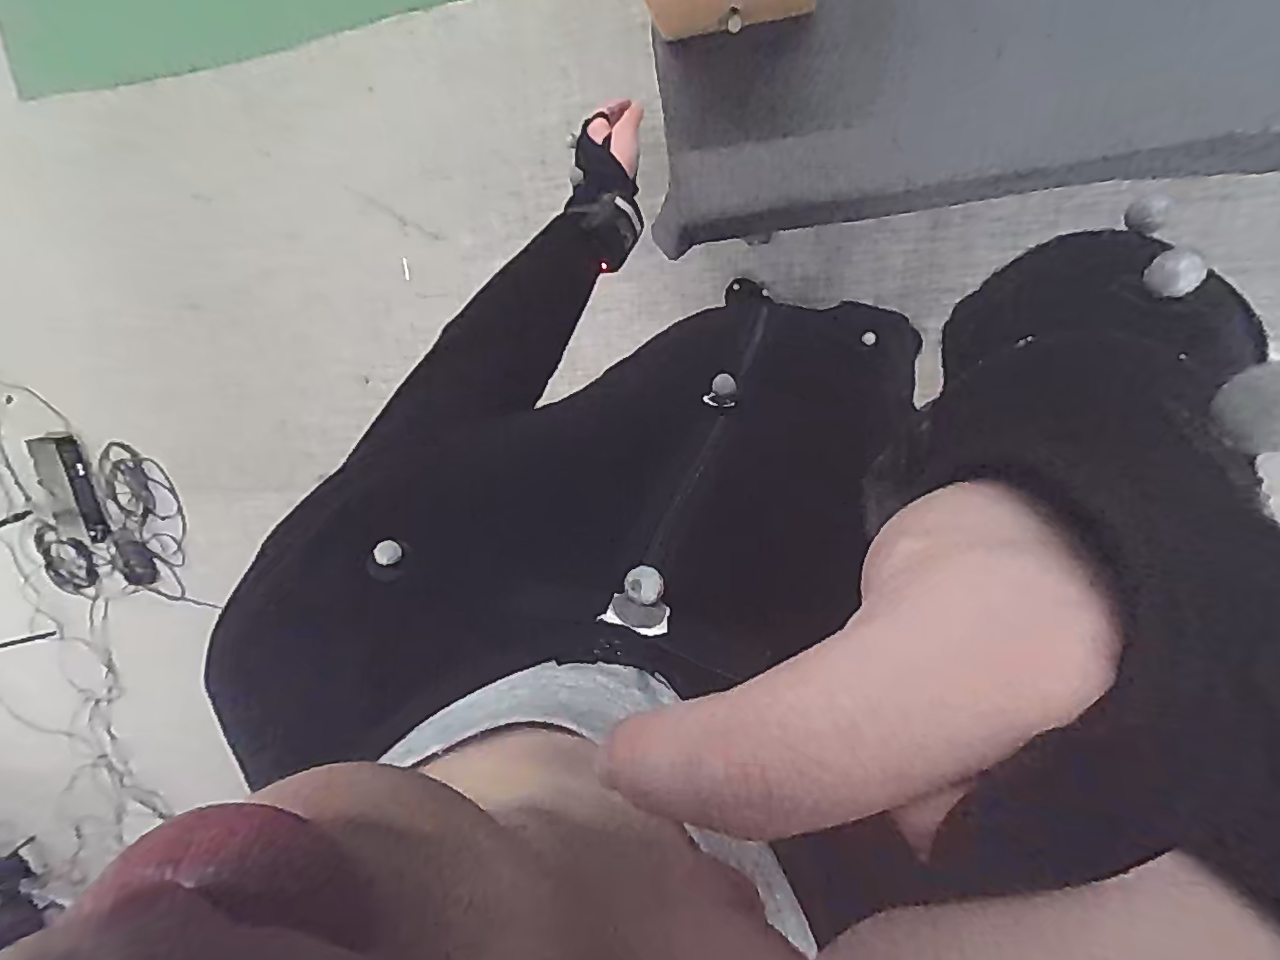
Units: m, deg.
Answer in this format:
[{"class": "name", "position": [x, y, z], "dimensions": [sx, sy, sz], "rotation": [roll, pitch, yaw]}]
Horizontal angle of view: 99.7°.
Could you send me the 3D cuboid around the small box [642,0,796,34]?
[{"class": "small box", "position": [0.081, -0.577, 0.526], "dimensions": [0.179, 0.176, 0.168], "rotation": [1, 109, 15]}]
